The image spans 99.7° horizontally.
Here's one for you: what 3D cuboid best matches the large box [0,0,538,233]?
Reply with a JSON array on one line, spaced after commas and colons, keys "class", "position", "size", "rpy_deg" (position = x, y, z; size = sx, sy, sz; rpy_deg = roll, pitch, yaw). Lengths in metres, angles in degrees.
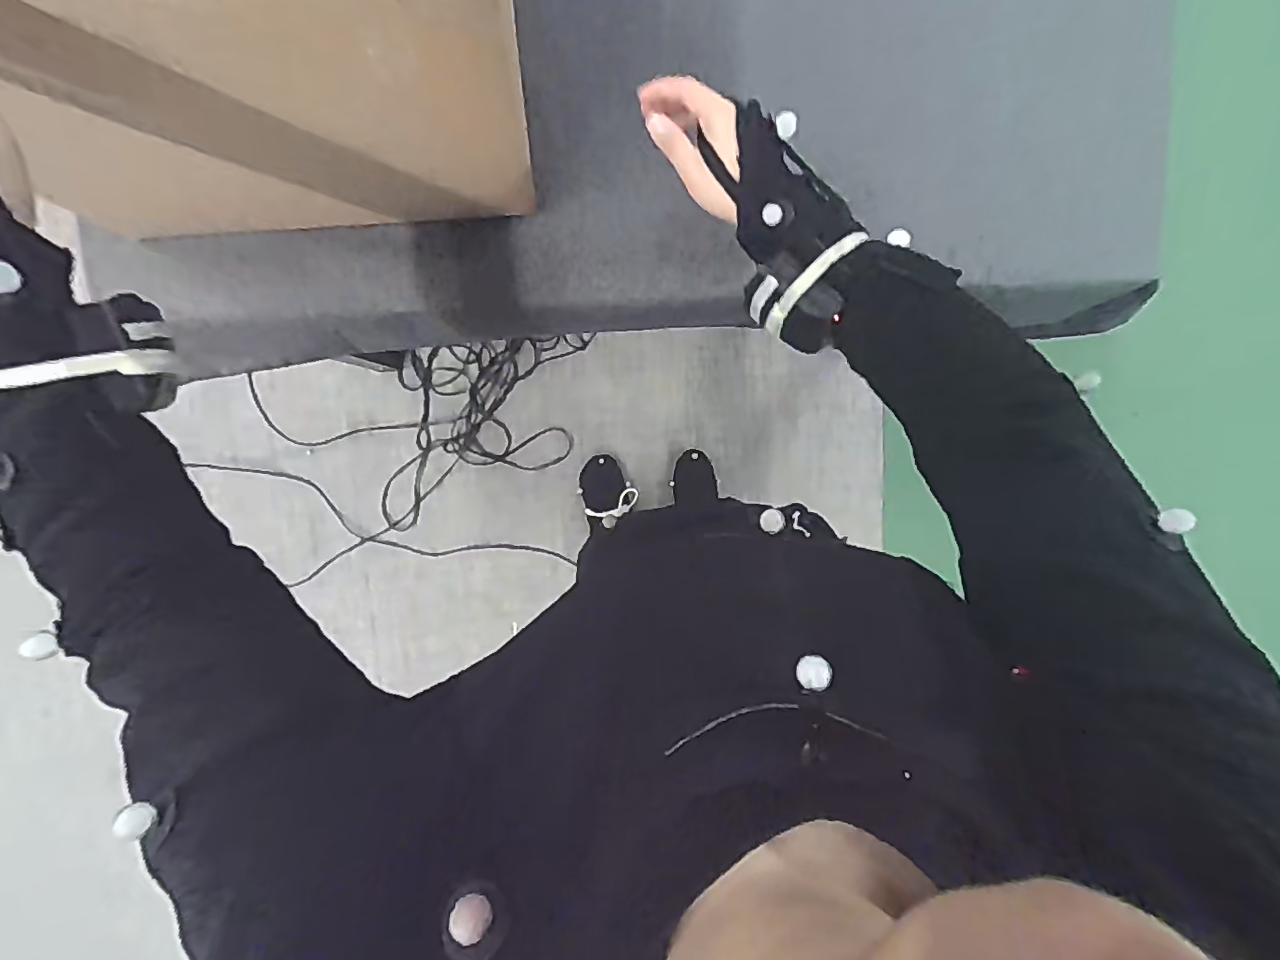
[{"class": "large box", "position": [-0.299, -0.404, 0.389], "size": [0.408, 0.320, 0.320], "rpy_deg": [-8, 97, -8]}]
